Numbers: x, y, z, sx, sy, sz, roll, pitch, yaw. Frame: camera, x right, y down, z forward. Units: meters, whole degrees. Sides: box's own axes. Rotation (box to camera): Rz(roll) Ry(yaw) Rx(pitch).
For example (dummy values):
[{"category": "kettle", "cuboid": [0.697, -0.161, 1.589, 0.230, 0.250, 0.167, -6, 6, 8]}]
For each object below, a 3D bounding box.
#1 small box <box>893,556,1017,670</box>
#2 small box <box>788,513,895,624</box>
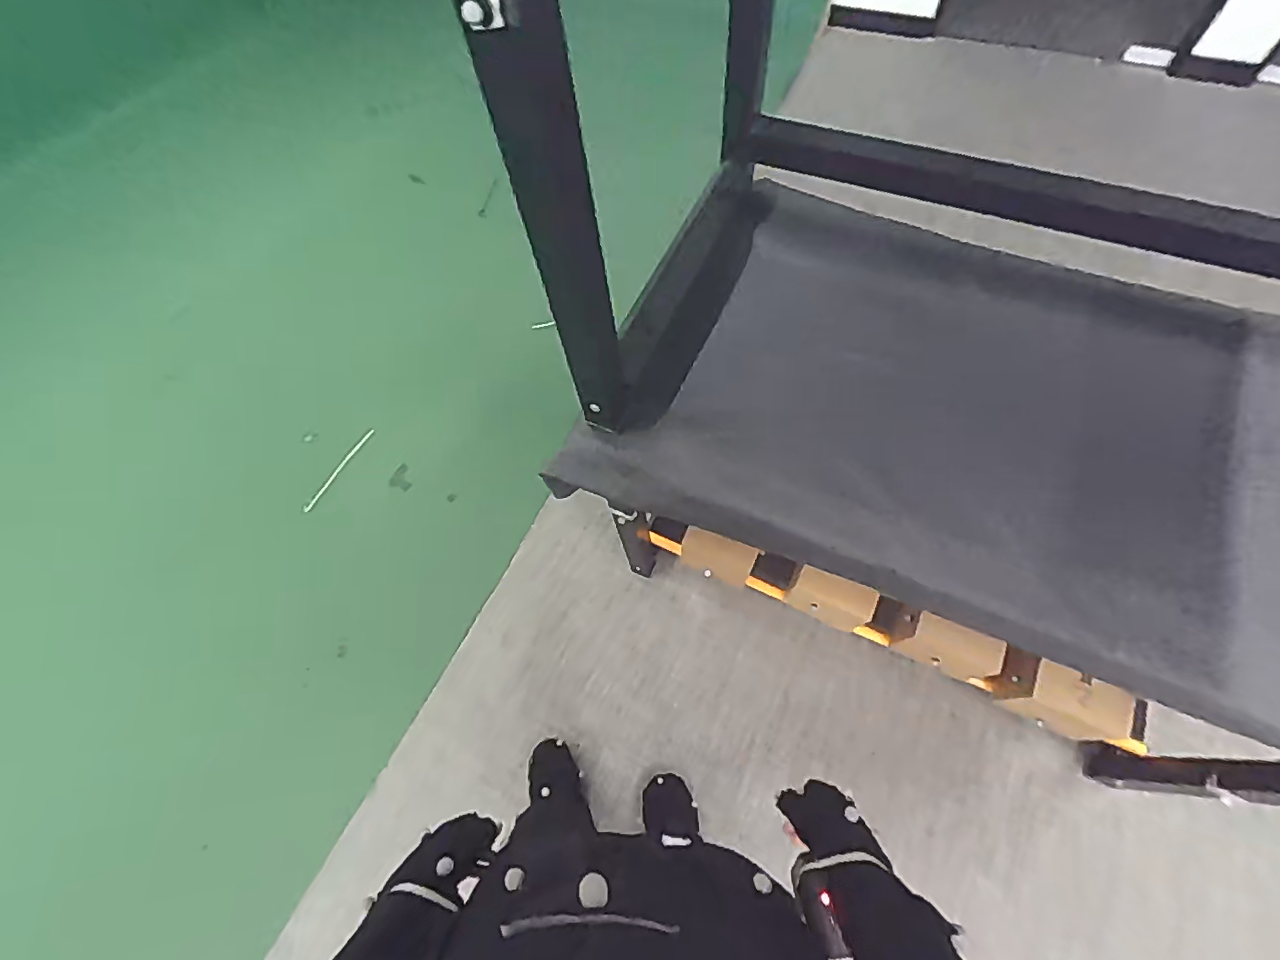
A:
[{"category": "small box", "cuboid": [0.671, 0.294, 1.171, 0.168, 0.176, 0.179, 22, 69, 15]}, {"category": "small box", "cuboid": [0.449, 0.208, 1.232, 0.168, 0.176, 0.179, 24, 70, 14]}]
